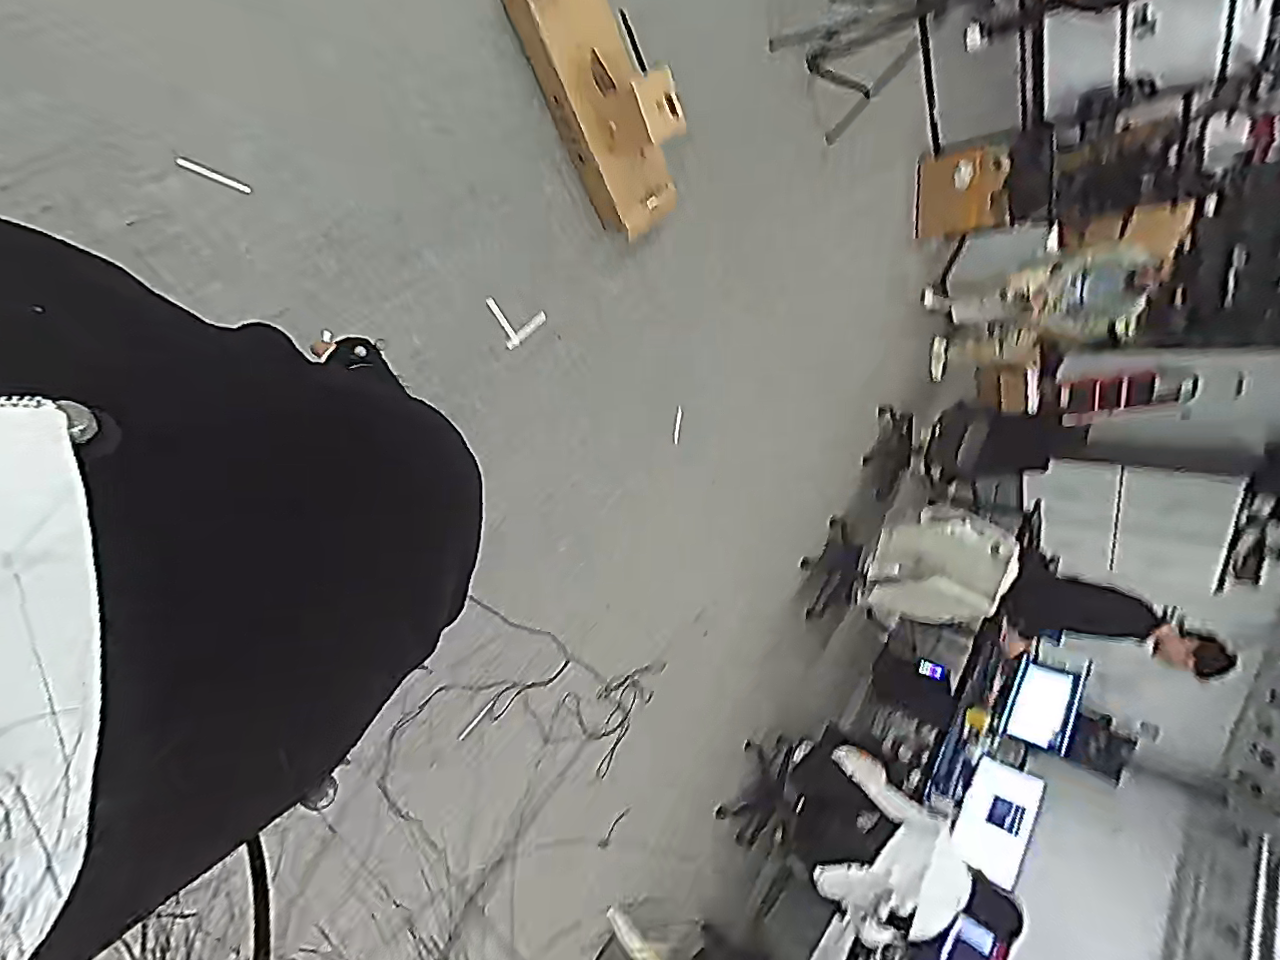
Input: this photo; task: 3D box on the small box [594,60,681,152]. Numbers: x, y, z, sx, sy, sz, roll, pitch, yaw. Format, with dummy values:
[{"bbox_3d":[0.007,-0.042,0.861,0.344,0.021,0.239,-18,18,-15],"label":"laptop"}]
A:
[{"bbox_3d":[-0.009,-1.135,1.648,0.179,0.176,0.168,-45,126,-28],"label":"small box"}]
